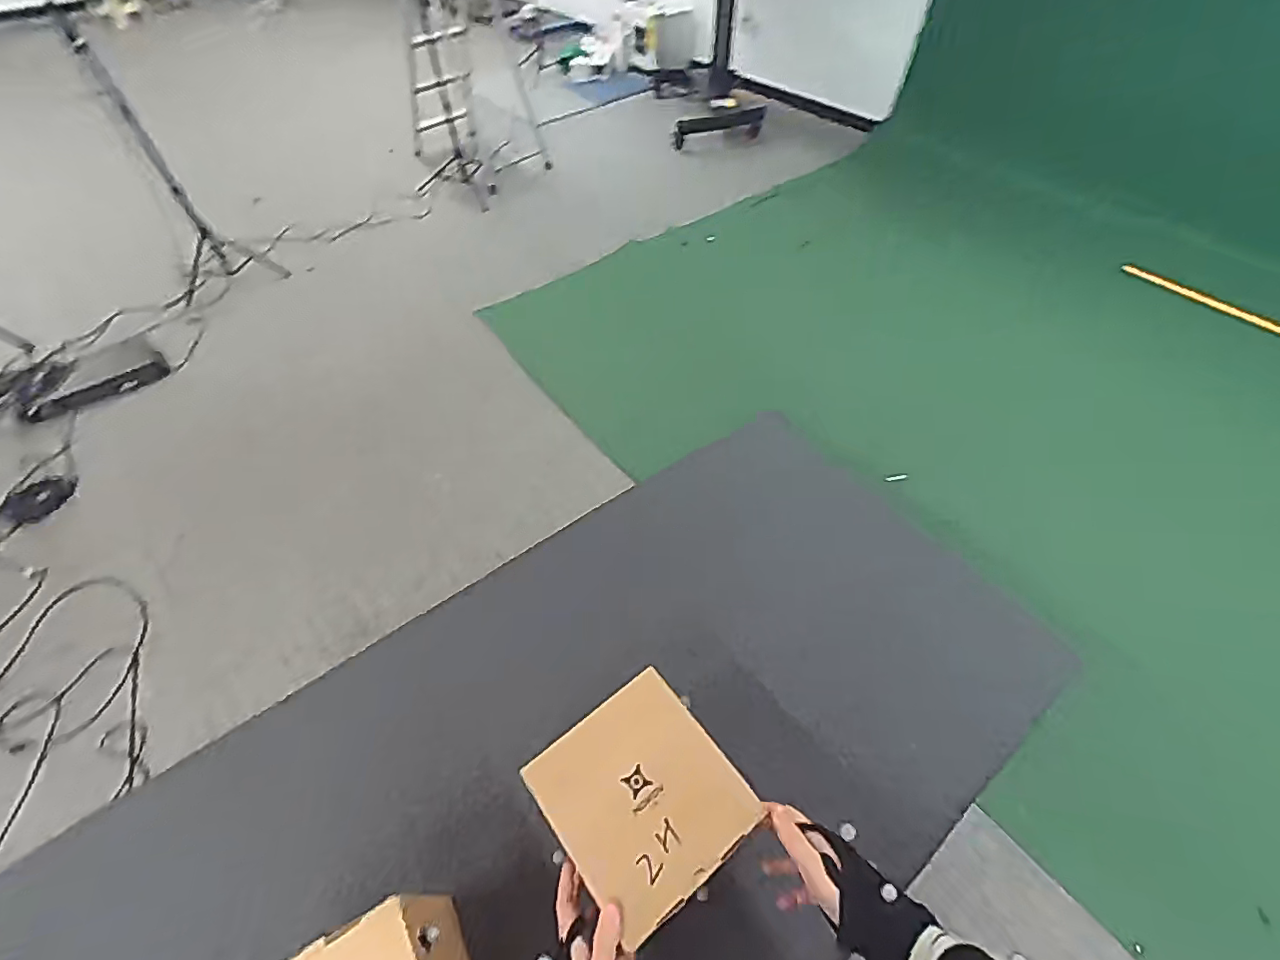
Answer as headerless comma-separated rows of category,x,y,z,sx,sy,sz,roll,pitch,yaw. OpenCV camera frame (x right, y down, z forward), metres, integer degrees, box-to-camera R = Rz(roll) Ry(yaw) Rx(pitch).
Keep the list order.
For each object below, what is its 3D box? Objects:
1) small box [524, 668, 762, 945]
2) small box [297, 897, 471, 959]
small box,0.000,0.344,0.577,0.168,0.176,0.179,-32,58,-21
small box,-0.231,0.498,0.460,0.168,0.176,0.179,-27,55,-19
